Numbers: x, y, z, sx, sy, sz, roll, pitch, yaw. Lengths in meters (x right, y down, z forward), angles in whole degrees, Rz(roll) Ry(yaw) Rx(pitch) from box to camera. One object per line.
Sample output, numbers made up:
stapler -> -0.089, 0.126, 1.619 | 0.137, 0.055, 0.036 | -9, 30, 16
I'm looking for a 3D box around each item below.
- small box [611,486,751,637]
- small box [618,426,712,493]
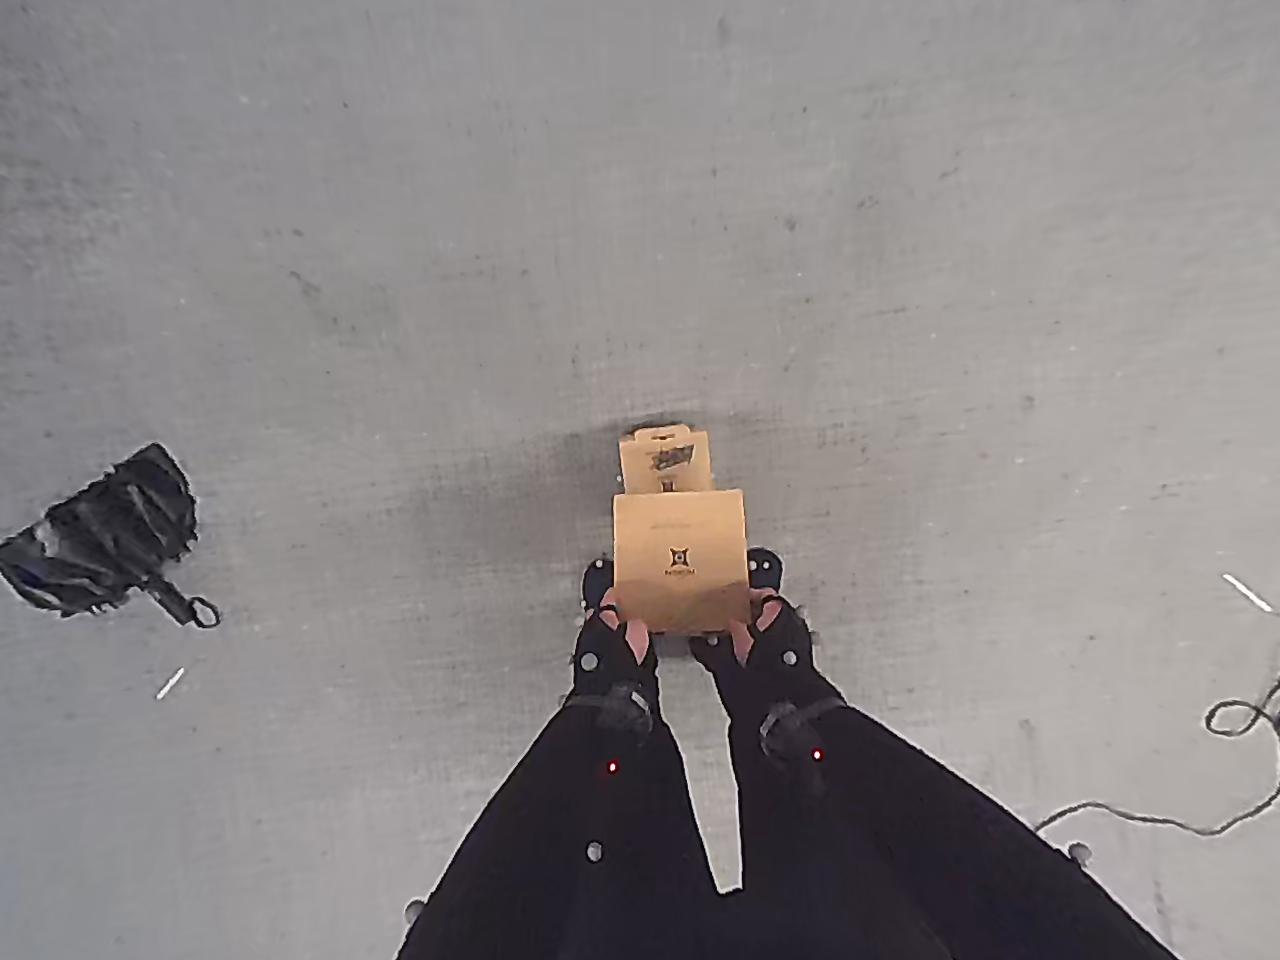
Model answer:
small box -> 0.056, 0.116, 0.732 | 0.168, 0.176, 0.179 | -4, 74, 5
small box -> 0.048, -0.012, 1.068 | 0.168, 0.176, 0.179 | -8, 99, 1
